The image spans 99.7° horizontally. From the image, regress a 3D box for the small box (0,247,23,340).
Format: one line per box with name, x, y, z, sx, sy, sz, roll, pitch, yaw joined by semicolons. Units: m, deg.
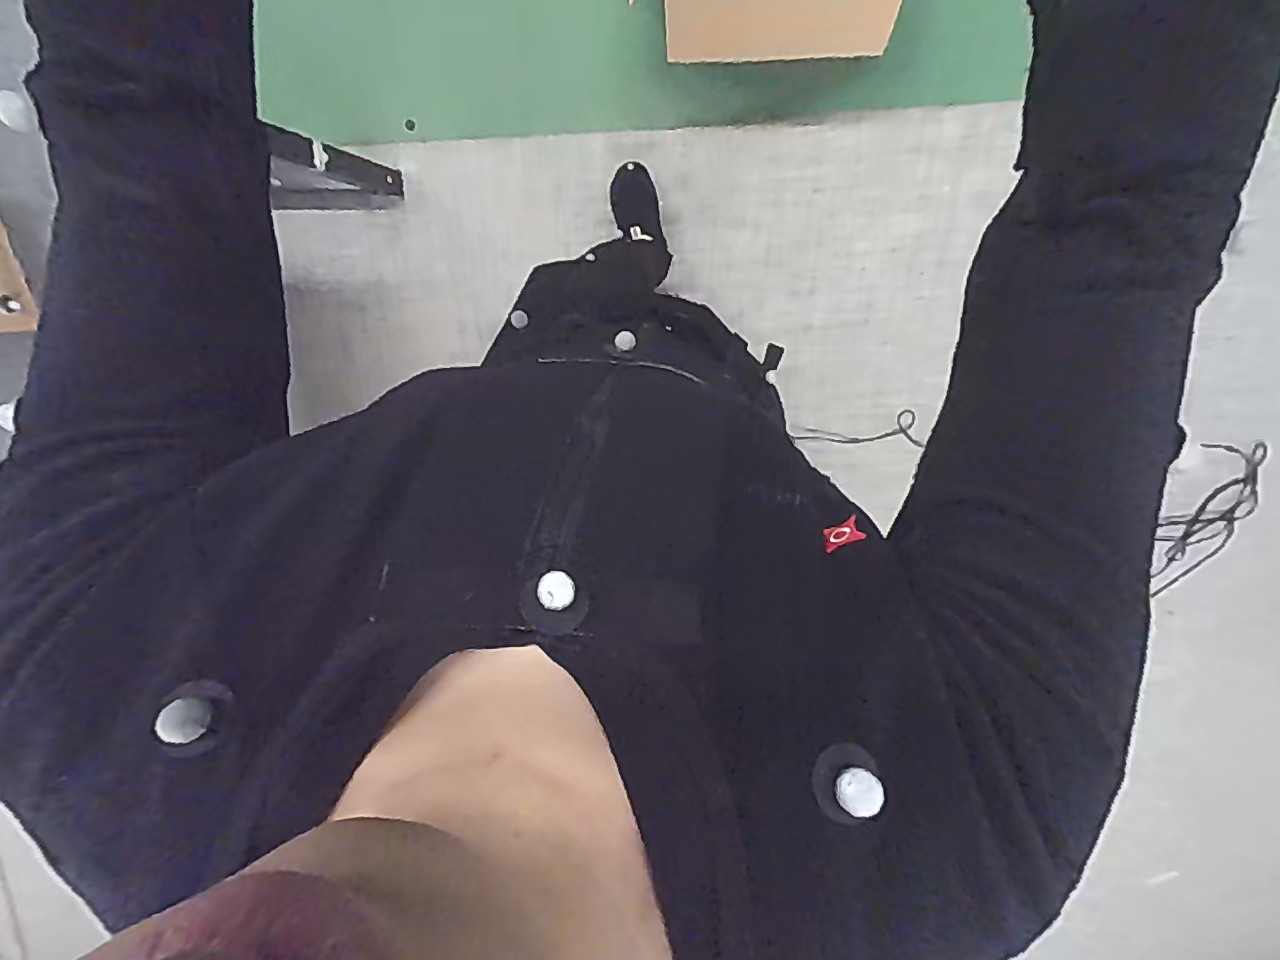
small box;-0.895;-0.239;0.627;0.179;0.176;0.168;-1;110;7
